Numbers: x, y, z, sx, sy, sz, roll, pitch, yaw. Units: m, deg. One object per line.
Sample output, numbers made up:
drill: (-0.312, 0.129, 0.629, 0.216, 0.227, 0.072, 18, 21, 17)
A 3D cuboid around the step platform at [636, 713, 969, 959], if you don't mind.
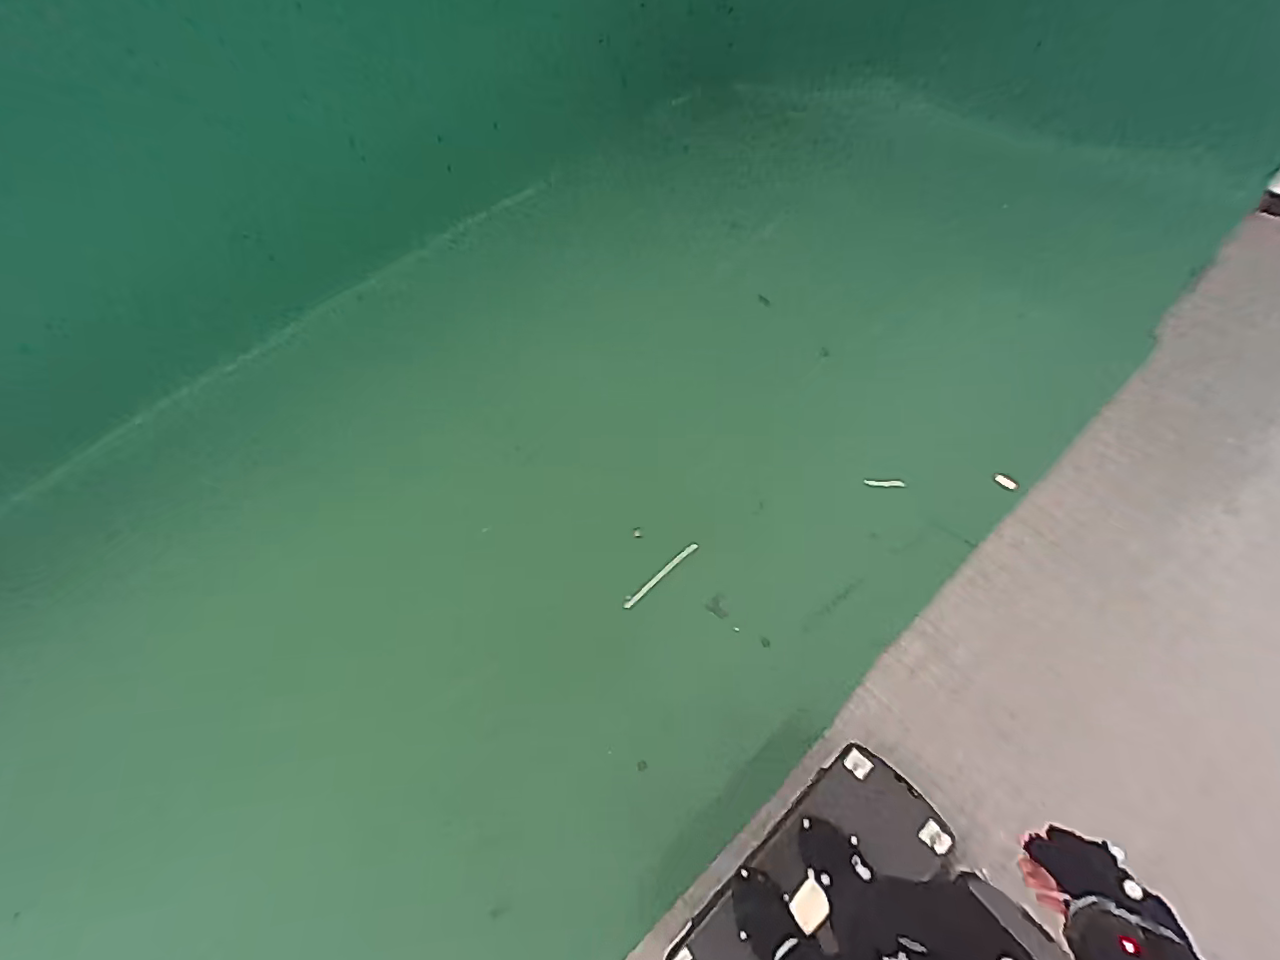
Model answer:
step platform: (0.312, 0.805, 1.055, 0.684, 0.204, 0.286, -41, 60, -15)
